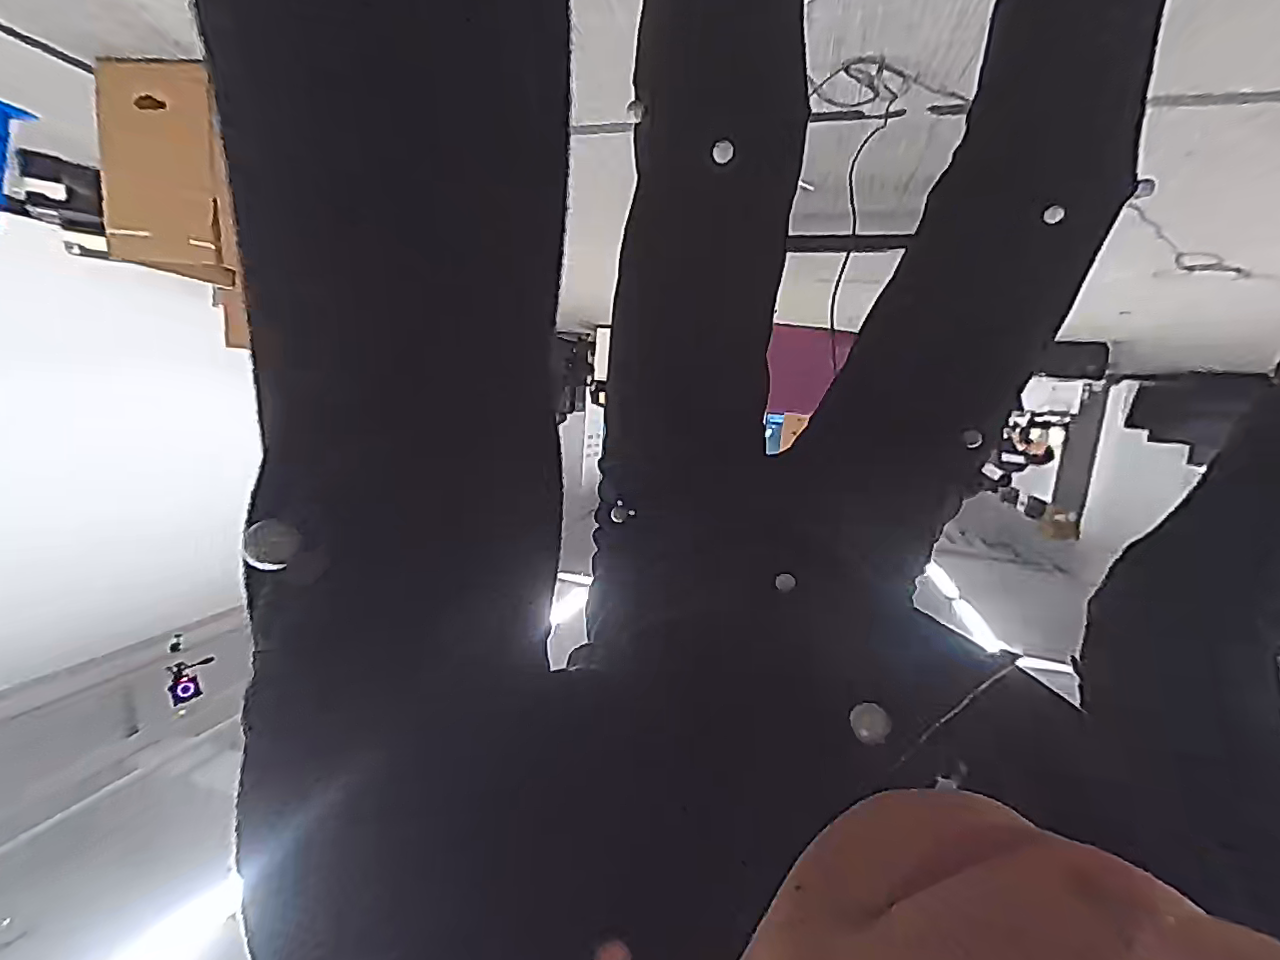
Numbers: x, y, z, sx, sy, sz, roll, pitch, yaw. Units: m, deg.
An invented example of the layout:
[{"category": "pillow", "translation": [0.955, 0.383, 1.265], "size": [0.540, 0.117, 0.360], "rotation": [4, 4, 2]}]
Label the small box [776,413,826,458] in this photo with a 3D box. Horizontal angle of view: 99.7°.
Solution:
[{"category": "small box", "translation": [0.667, -0.189, 2.233], "size": [0.168, 0.176, 0.179], "rotation": [8, -169, 23]}]
